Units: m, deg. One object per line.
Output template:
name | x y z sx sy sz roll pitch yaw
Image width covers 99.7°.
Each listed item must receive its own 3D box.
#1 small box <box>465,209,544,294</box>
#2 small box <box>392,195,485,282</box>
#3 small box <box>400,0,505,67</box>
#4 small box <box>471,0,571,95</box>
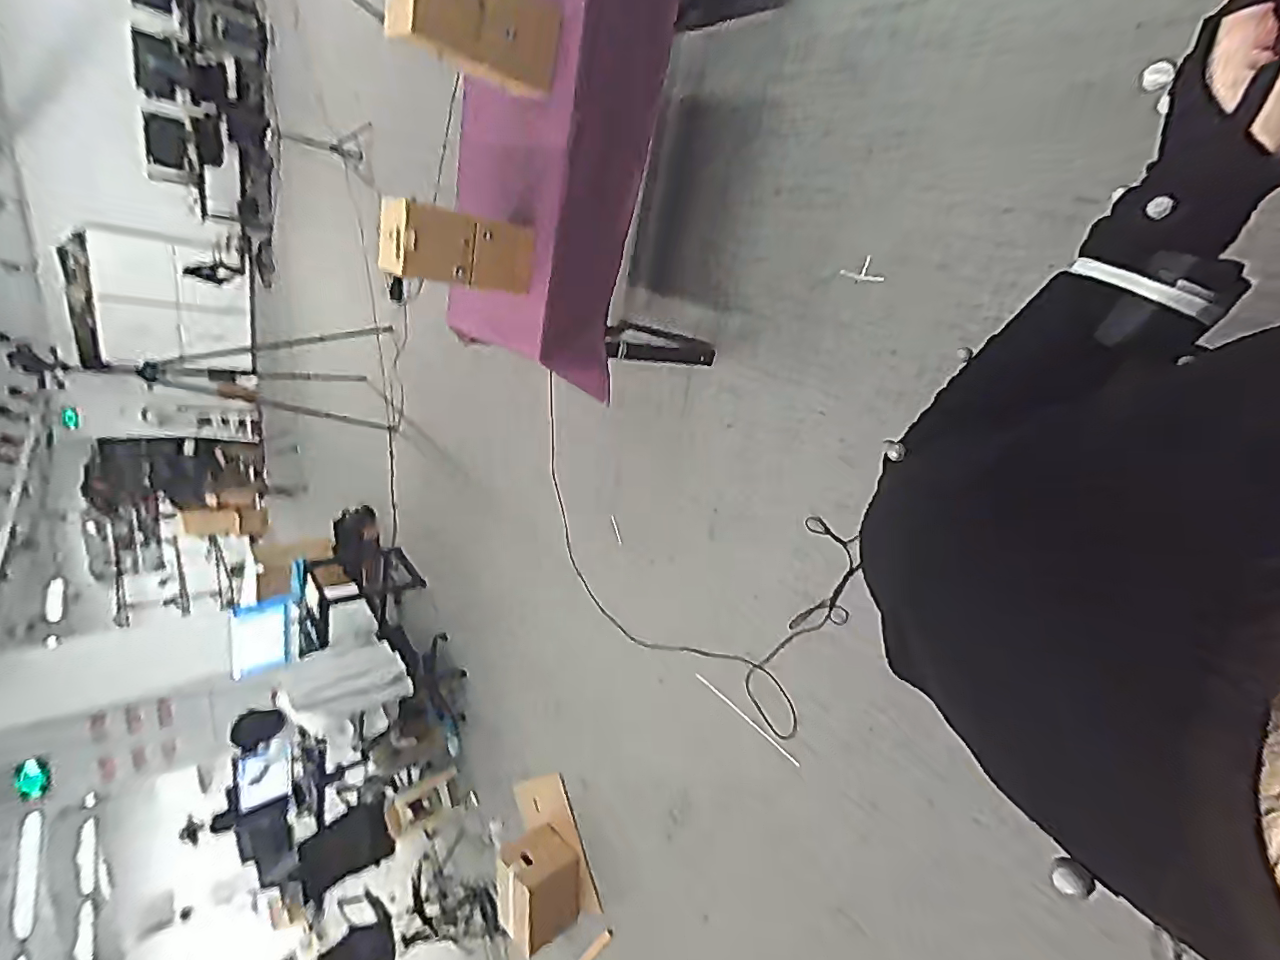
small box | -0.377 -0.611 1.456 0.168 0.176 0.179 32 117 42
small box | -0.503 -0.599 1.350 0.179 0.176 0.168 32 117 43
small box | -0.412 -1.043 1.194 0.179 0.176 0.168 37 121 40
small box | -0.285 -1.052 1.296 0.168 0.176 0.179 37 121 39
